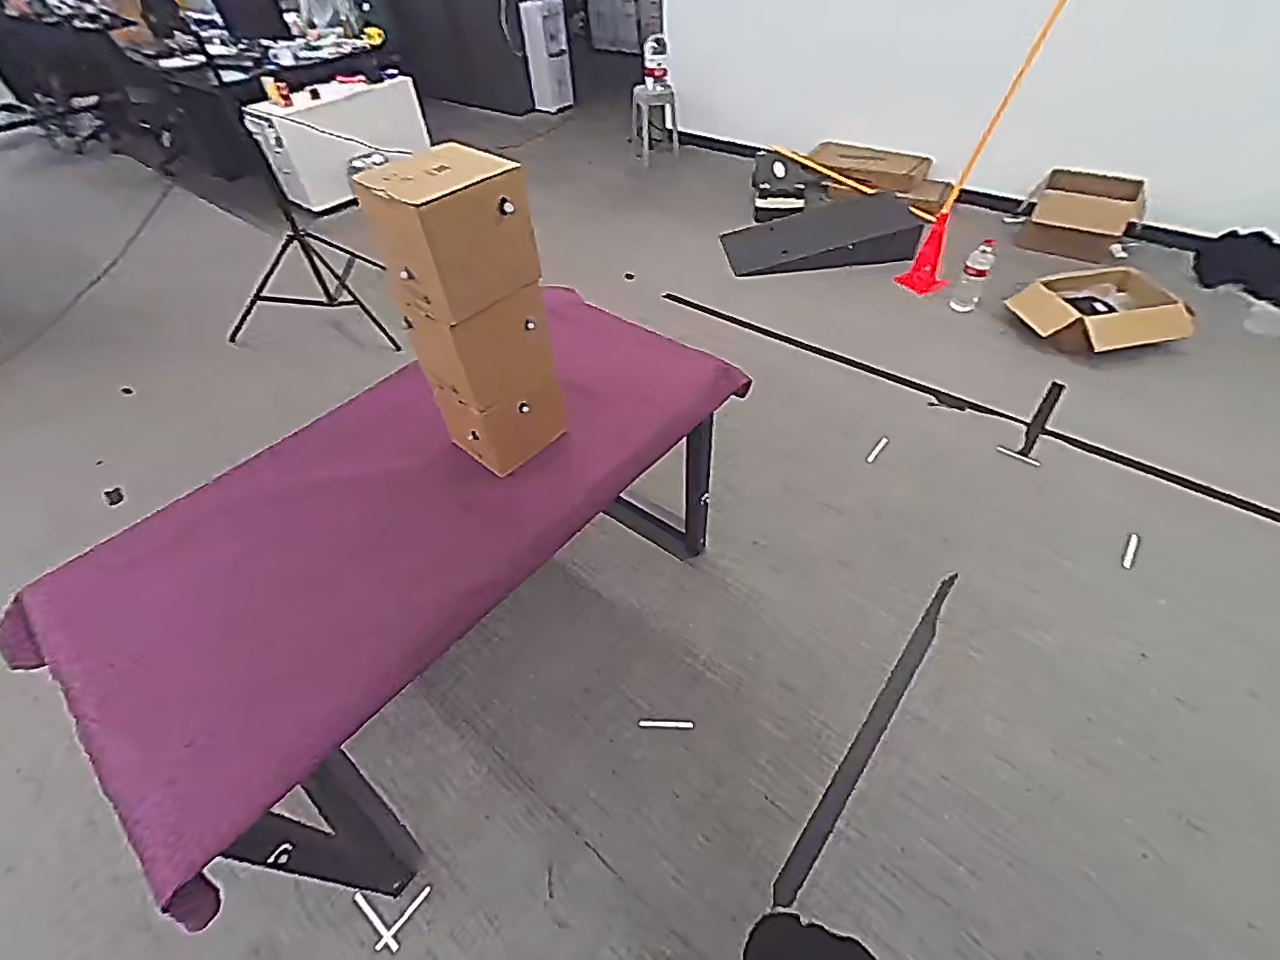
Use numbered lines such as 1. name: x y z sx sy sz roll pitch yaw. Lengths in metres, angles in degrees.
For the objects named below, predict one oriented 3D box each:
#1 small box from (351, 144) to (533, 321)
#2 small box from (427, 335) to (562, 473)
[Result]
1. small box: -0.277 -0.367 0.801 0.168 0.176 0.179 32 58 28
2. small box: -0.269 -0.144 1.044 0.168 0.176 0.179 32 57 27
